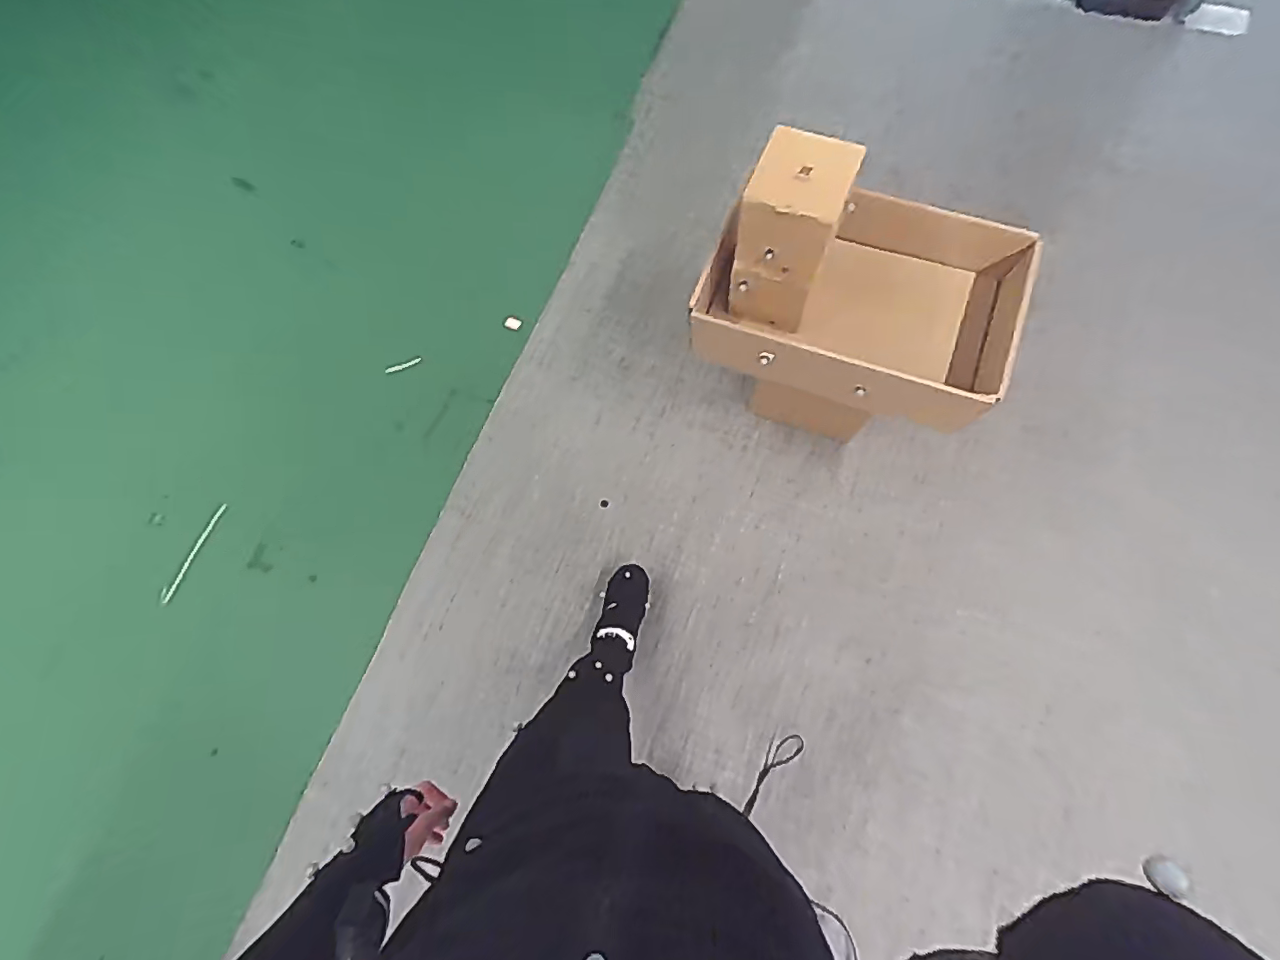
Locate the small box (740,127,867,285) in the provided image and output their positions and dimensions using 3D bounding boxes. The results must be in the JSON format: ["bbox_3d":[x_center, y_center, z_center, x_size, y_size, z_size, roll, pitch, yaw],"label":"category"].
[{"bbox_3d":[0.295,-0.505,1.011,0.168,0.176,0.179,22,76,11],"label":"small box"}]
